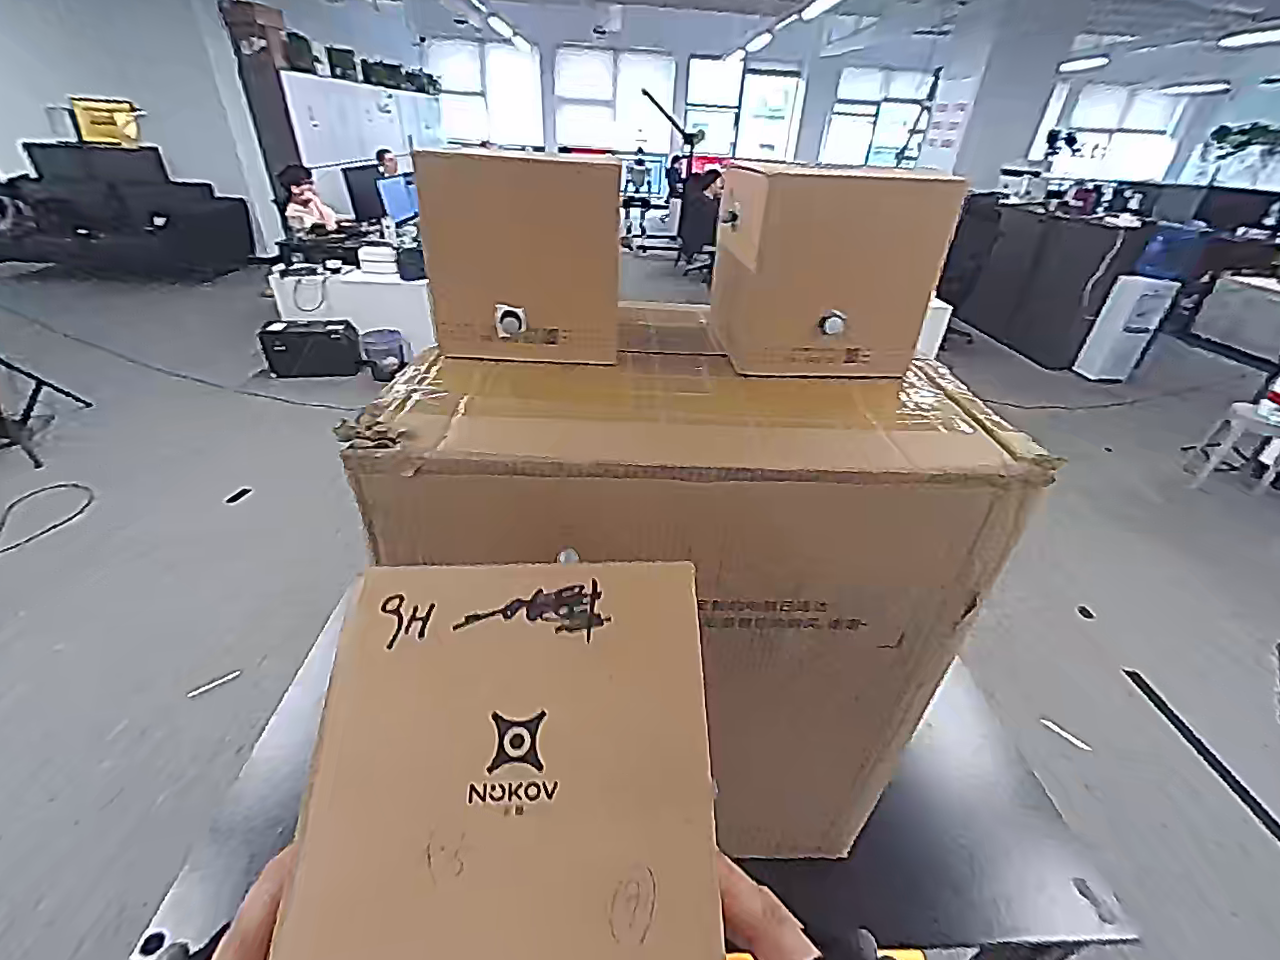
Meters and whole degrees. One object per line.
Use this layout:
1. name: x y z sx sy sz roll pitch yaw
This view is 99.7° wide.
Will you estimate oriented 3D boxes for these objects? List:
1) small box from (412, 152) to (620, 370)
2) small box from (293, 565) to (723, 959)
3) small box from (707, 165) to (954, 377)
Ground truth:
1. small box: -0.107 -0.221 0.537 0.168 0.176 0.179 0 33 -5
2. small box: -0.051 0.157 0.304 0.168 0.176 0.179 -1 63 -2
3. small box: 0.165 -0.213 0.542 0.168 0.176 0.179 -1 33 -4
